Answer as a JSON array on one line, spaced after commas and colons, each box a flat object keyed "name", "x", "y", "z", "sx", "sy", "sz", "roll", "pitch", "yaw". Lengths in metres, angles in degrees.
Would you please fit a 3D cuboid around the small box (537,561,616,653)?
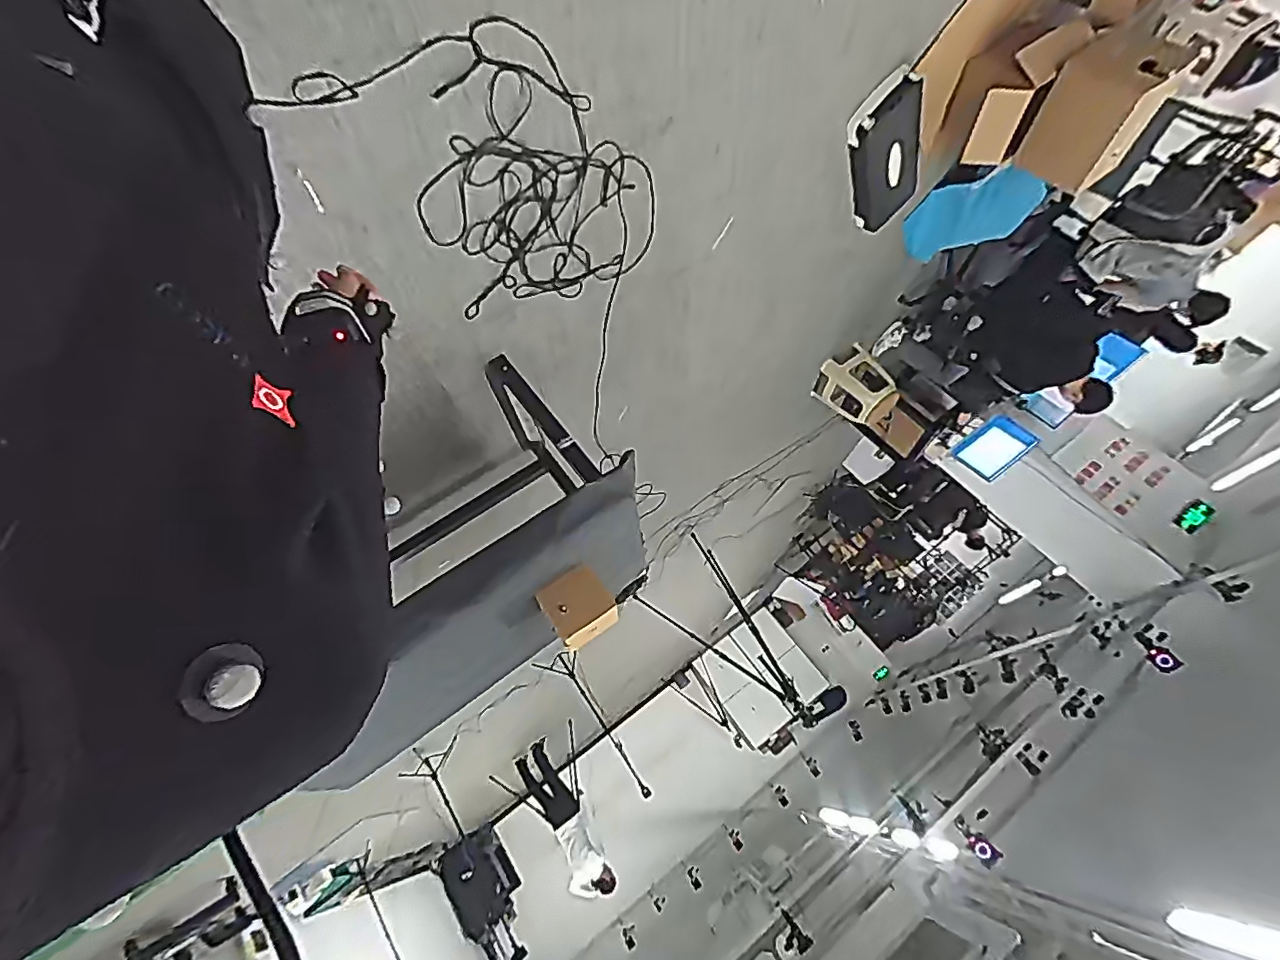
[{"name": "small box", "x": -0.190, "y": 0.375, "z": 1.600, "sx": 0.179, "sy": 0.176, "sz": 0.168, "roll": -33, "pitch": 156, "yaw": -19}]
